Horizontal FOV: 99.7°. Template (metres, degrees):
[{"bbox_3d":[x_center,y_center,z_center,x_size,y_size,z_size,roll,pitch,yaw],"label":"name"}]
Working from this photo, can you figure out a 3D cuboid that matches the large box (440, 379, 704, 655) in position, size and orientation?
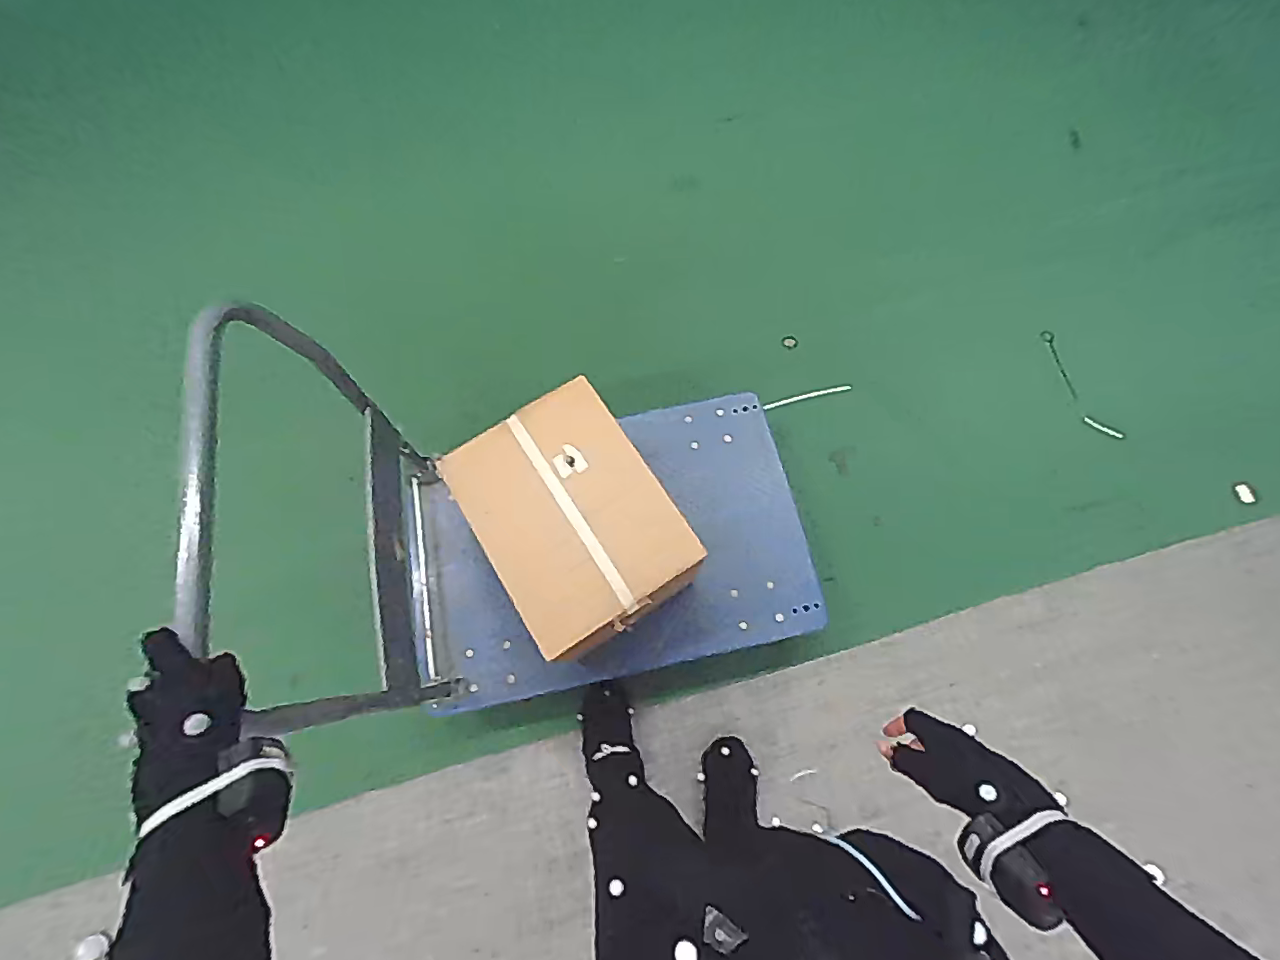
[{"bbox_3d":[-0.117,0.090,1.073,0.320,0.320,0.408,-32,73,-8],"label":"large box"}]
